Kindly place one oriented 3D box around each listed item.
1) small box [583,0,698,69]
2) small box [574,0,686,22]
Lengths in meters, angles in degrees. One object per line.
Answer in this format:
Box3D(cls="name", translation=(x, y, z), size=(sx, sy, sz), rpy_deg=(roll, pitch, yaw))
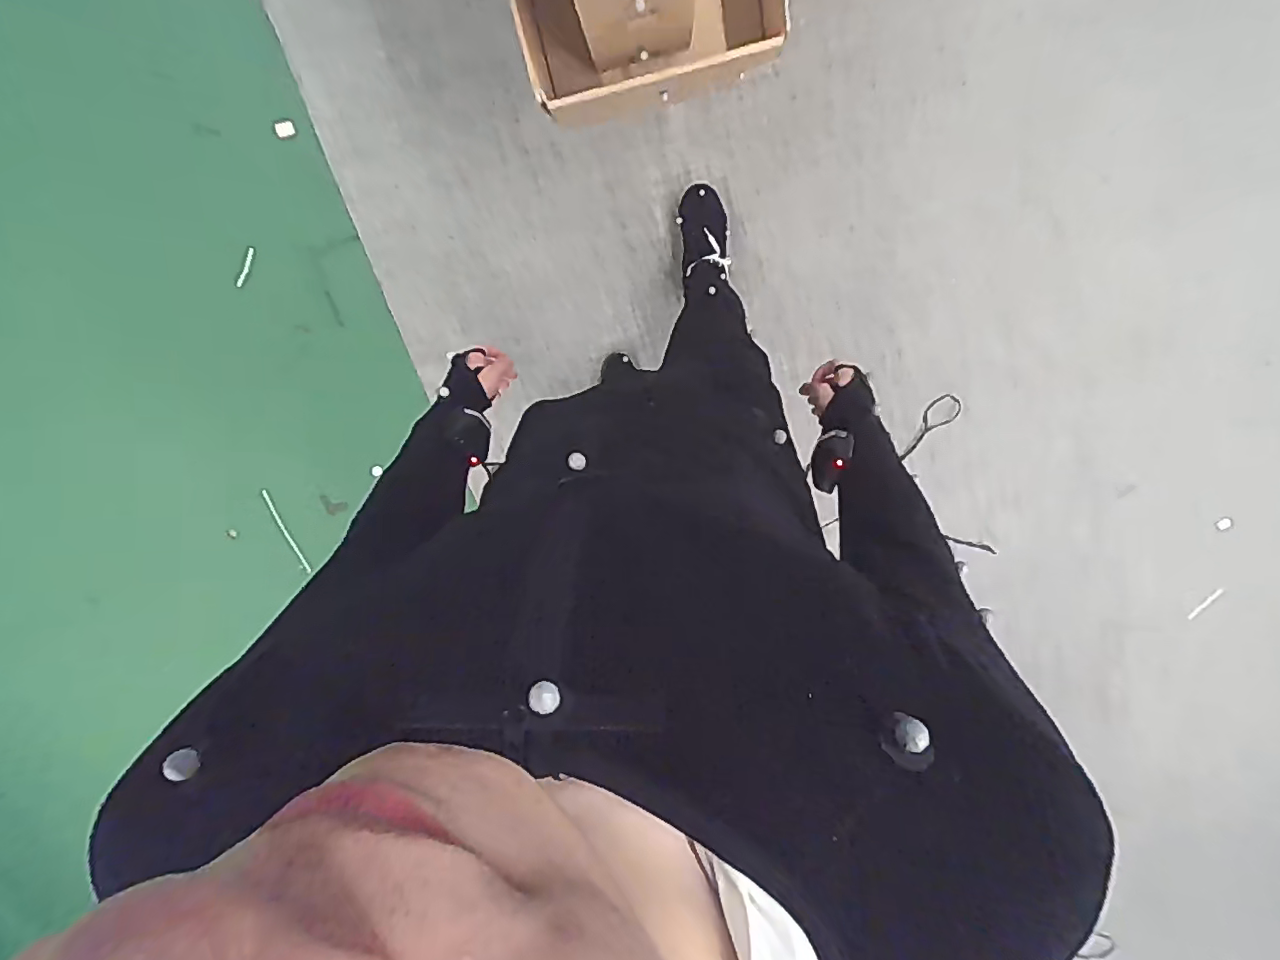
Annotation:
Box3D(cls="small box", translation=(-0.012, -0.764, 0.810), size=(0.168, 0.176, 0.179), rpy_deg=(-10, 111, 8))
Box3D(cls="small box", translation=(-0.020, -0.702, 0.660), size=(0.168, 0.176, 0.179), rpy_deg=(-10, 112, 6))
